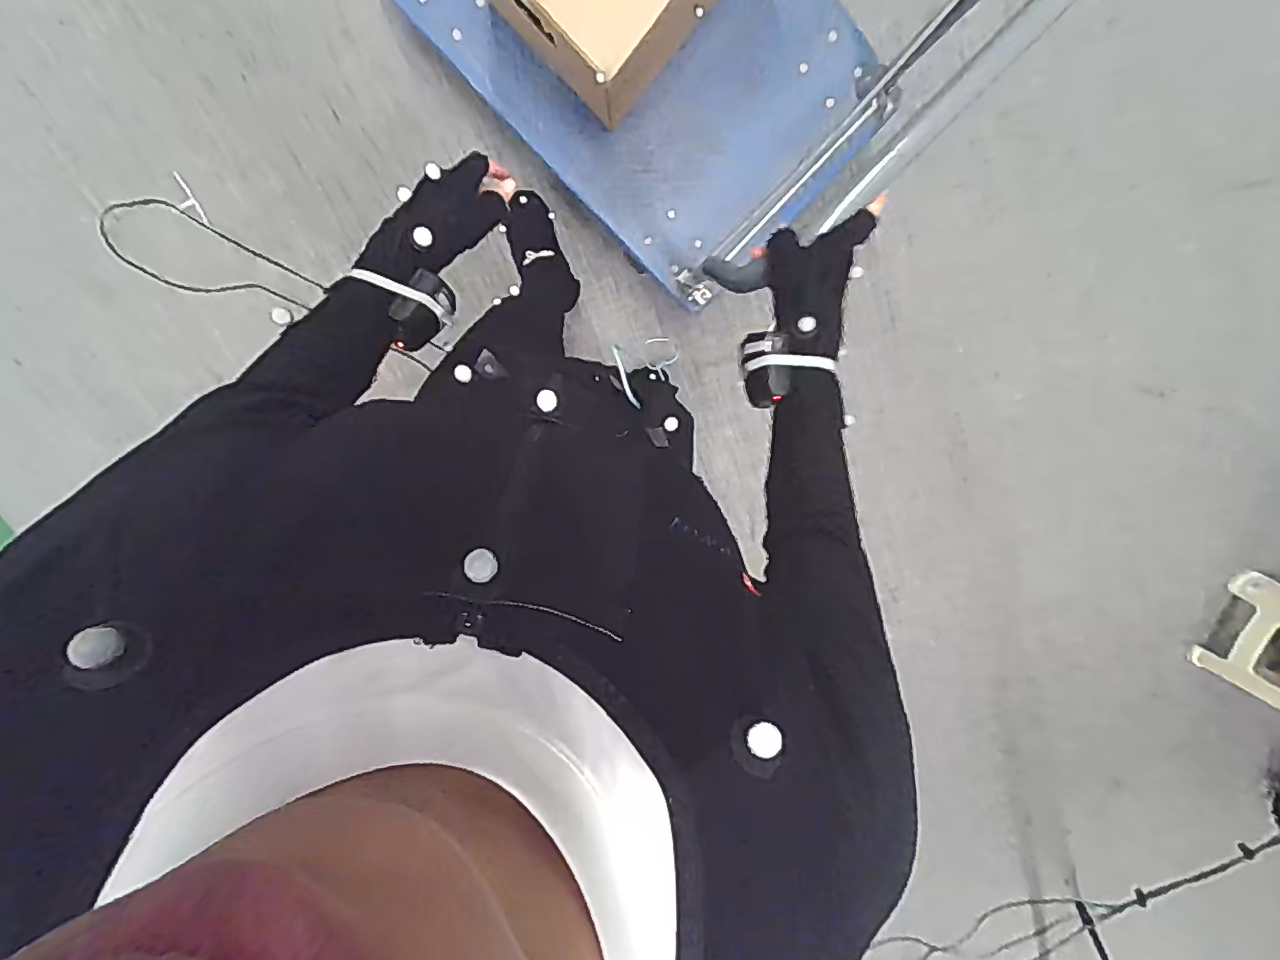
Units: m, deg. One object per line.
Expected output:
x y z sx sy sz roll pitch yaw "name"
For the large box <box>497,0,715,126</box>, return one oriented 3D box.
-0.016 -0.866 0.836 0.320 0.320 0.408 39 107 -14 "large box"
